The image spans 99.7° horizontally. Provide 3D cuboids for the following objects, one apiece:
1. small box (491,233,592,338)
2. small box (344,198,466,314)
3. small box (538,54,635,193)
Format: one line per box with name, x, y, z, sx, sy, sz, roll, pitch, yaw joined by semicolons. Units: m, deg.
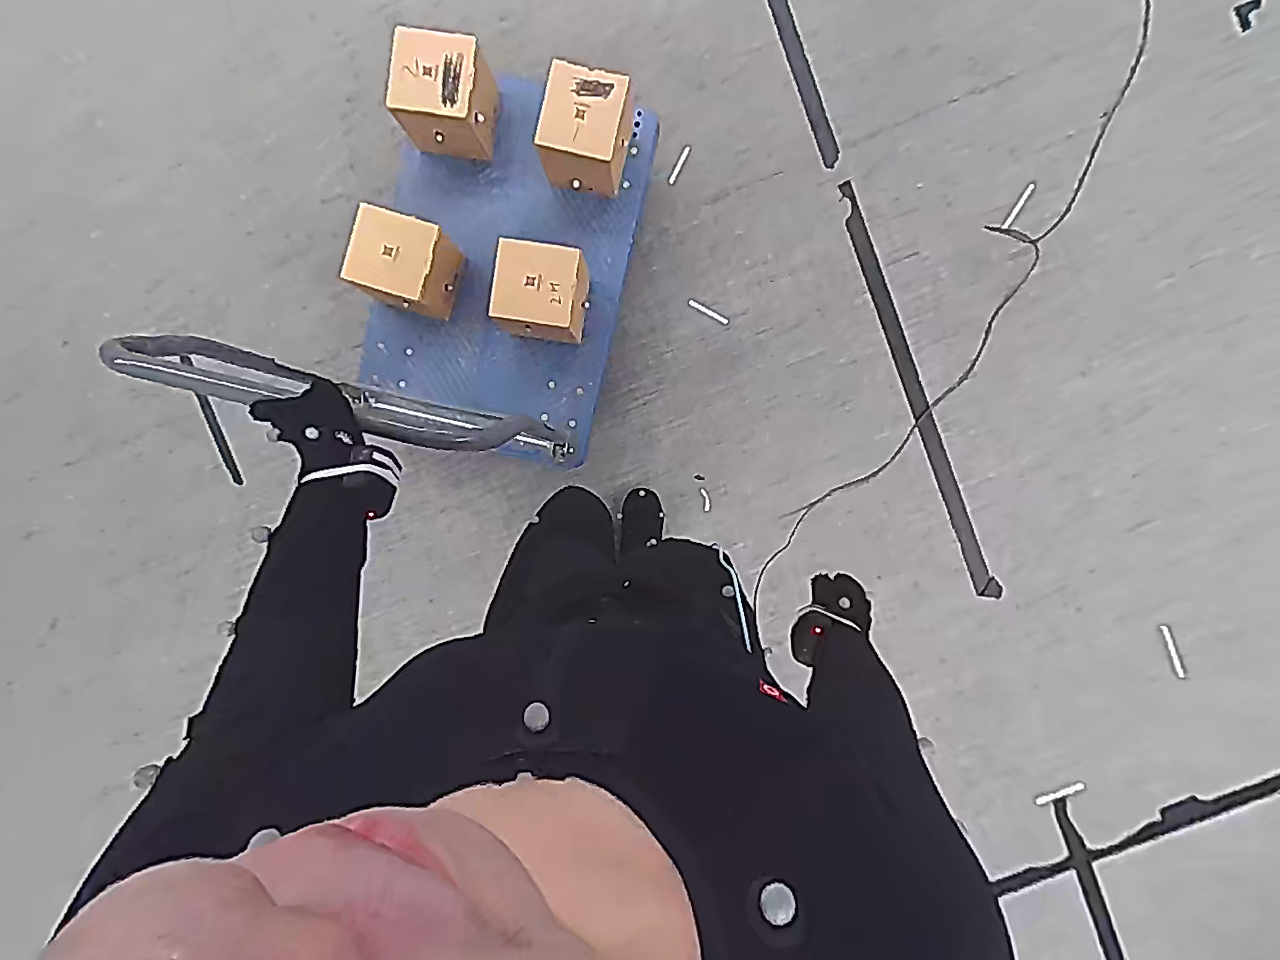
small box;-0.212;-0.422;1.202;0.179;0.176;0.168;9;93;1
small box;-0.514;-0.488;1.206;0.179;0.176;0.168;17;92;-1
small box;-0.110;-0.769;1.183;0.168;0.176;0.179;14;94;1
